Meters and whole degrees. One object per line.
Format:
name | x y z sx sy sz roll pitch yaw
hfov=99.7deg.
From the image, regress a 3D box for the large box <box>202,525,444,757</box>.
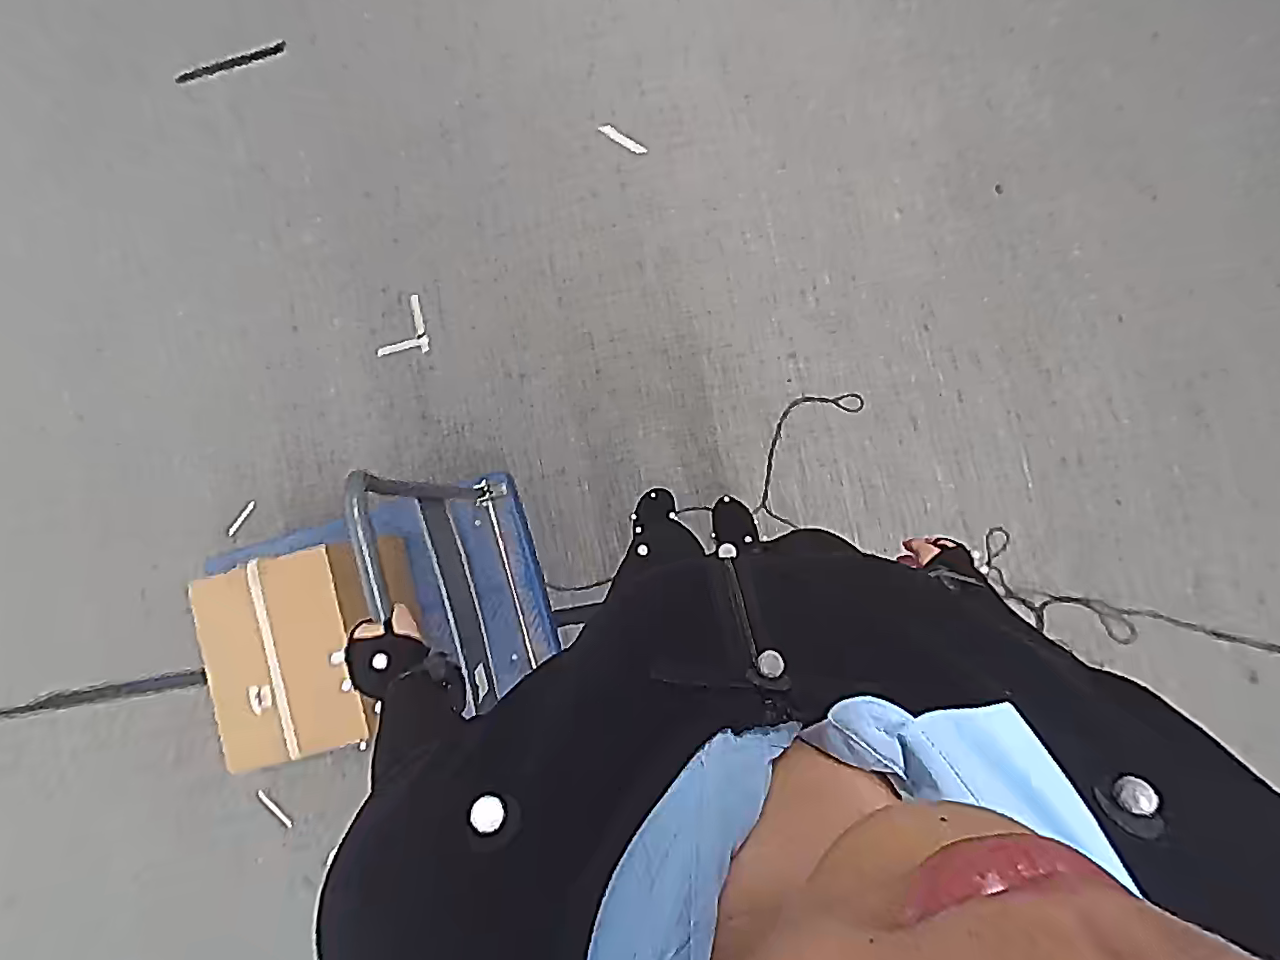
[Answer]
large box | -0.707 0.344 1.259 0.320 0.320 0.408 -15 88 6
